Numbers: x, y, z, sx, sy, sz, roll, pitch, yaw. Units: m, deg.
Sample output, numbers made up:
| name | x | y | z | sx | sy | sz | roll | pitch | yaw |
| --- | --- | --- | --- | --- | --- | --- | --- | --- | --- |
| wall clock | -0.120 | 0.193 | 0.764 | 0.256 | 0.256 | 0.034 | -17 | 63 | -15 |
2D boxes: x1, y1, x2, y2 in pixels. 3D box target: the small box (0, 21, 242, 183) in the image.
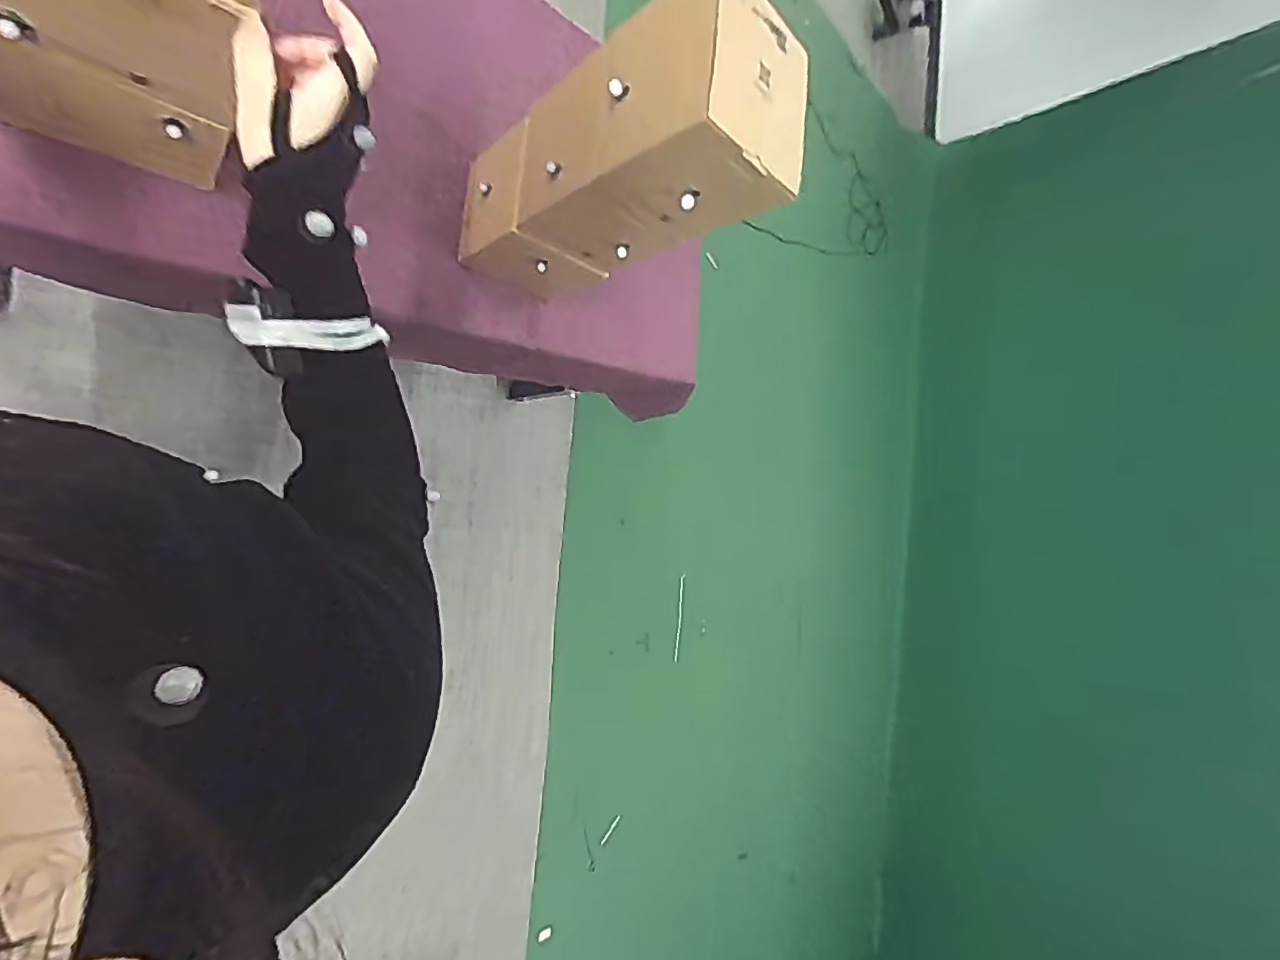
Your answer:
| name | x | y | z | sx | sy | sz | roll | pitch | yaw |
| --- | --- | --- | --- | --- | --- | --- | --- | --- | --- |
| small box | -0.500 | -0.424 | 0.522 | 0.179 | 0.176 | 0.168 | 5 | 88 | -44 |

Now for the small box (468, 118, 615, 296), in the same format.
| name | x | y | z | sx | sy | sz | roll | pitch | yaw |
| --- | --- | --- | --- | --- | --- | --- | --- | --- | --- |
| small box | -0.149 | -0.407 | 0.846 | 0.179 | 0.176 | 0.168 | 10 | 85 | -43 |

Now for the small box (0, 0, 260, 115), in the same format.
| name | x | y | z | sx | sy | sz | roll | pitch | yaw |
| --- | --- | --- | --- | --- | --- | --- | --- | --- | --- |
| small box | -0.388 | -0.424 | 0.402 | 0.168 | 0.176 | 0.179 | 4 | 88 | -44 |

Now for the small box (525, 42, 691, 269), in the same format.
| name | x | y | z | sx | sy | sz | roll | pitch | yaw |
| --- | --- | --- | --- | --- | --- | --- | --- | --- | --- |
| small box | -0.037 | -0.411 | 0.727 | 0.168 | 0.176 | 0.179 | 10 | 84 | -43 |

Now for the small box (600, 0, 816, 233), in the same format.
| name | x | y | z | sx | sy | sz | roll | pitch | yaw |
| --- | --- | --- | --- | --- | --- | --- | --- | --- | --- |
| small box | 0.072 | -0.408 | 0.605 | 0.168 | 0.176 | 0.179 | 9 | 86 | -44 |
